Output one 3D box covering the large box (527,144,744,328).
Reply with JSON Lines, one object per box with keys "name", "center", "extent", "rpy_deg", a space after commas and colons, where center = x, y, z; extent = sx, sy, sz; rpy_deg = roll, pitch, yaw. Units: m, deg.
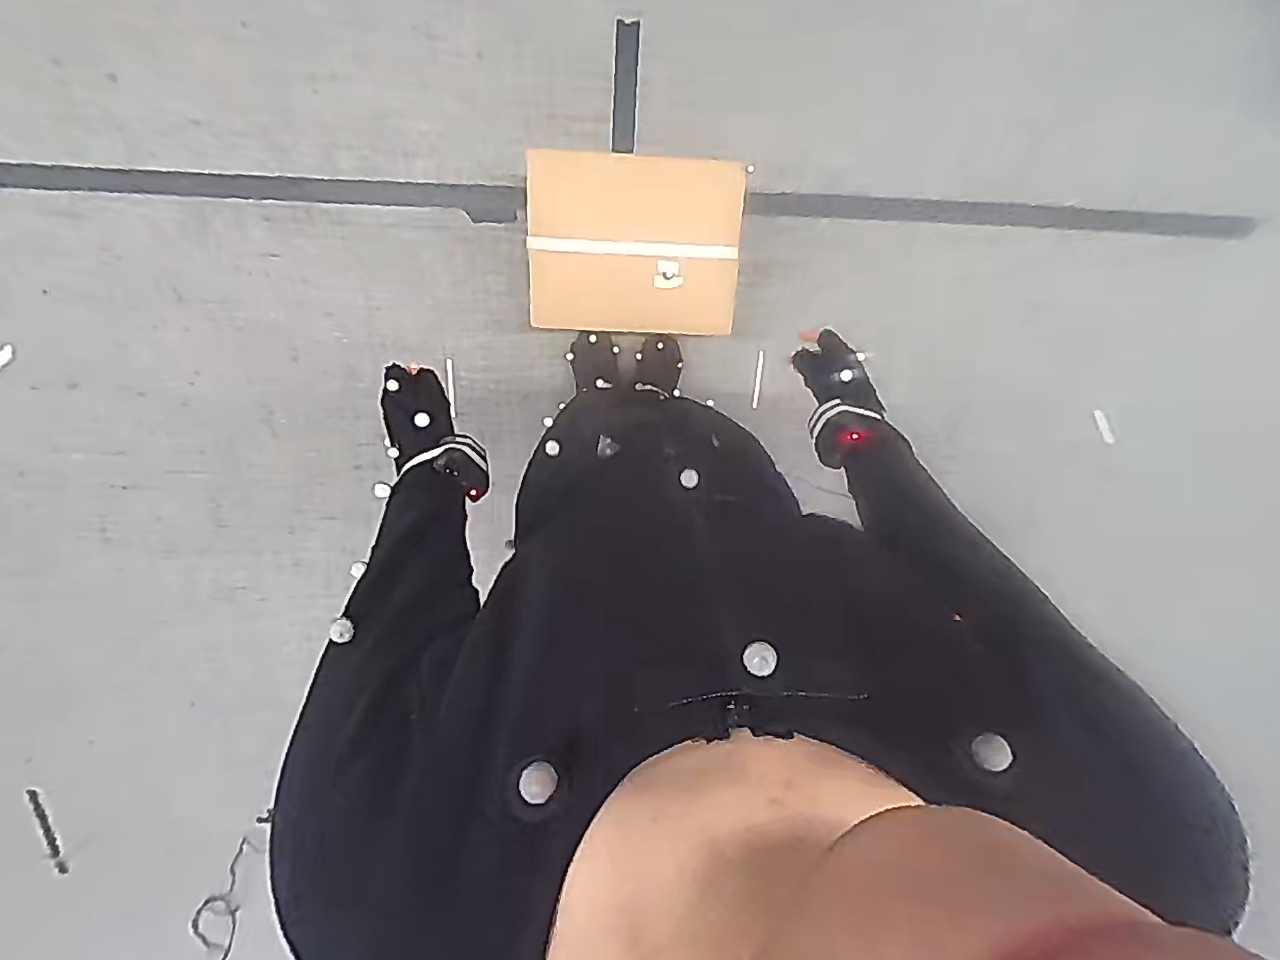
{"name": "large box", "center": [-0.022, -0.504, 1.169], "extent": [0.408, 0.320, 0.320], "rpy_deg": [1, 111, -5]}
